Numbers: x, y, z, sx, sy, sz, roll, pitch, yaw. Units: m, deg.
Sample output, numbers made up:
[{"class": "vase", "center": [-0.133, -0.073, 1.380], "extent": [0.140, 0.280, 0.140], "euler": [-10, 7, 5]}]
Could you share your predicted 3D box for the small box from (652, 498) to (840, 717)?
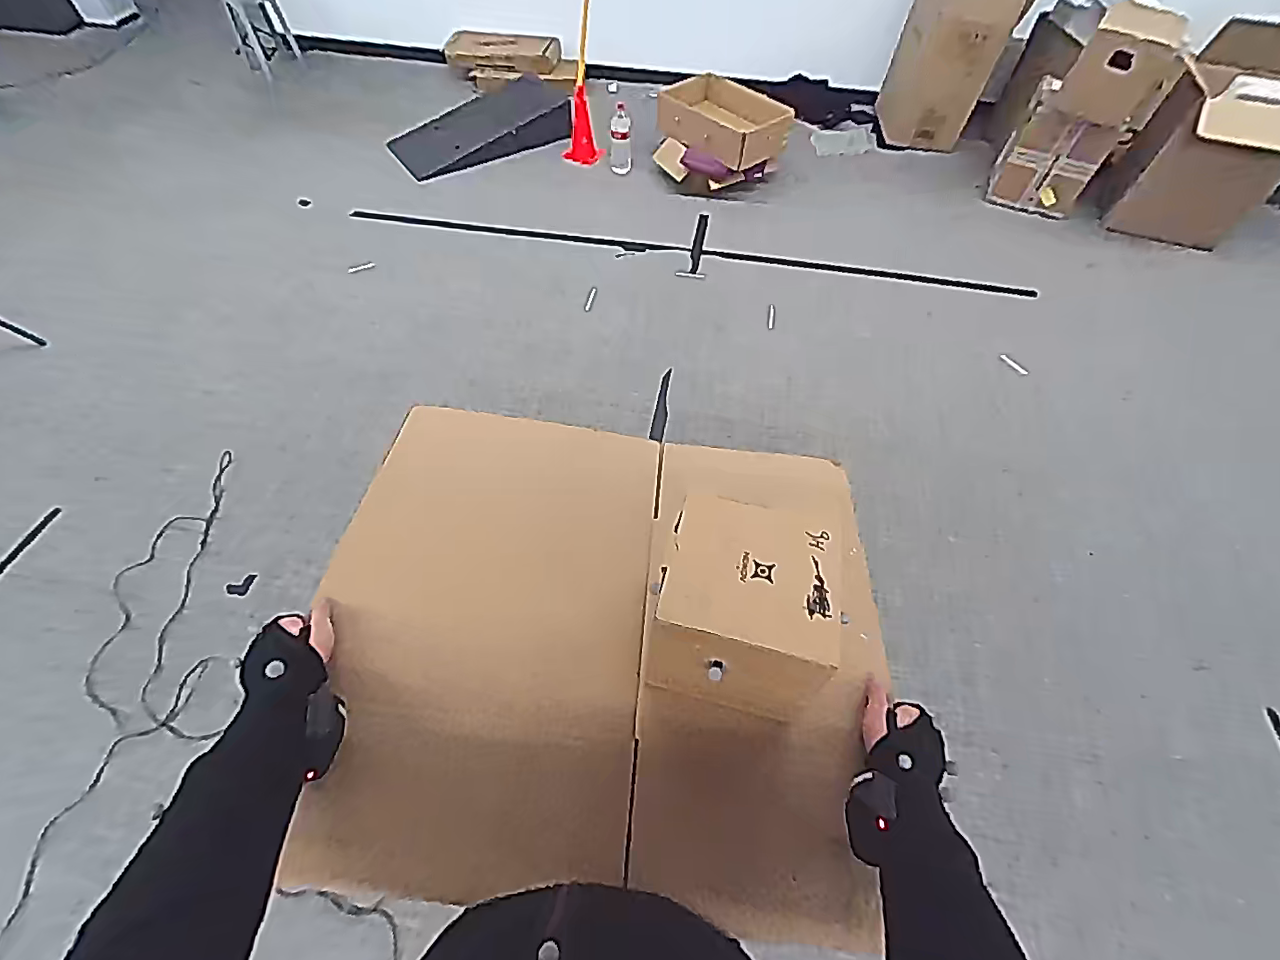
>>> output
[{"class": "small box", "center": [0.115, 0.148, 0.618], "extent": [0.179, 0.176, 0.168], "euler": [12, 50, 8]}]
